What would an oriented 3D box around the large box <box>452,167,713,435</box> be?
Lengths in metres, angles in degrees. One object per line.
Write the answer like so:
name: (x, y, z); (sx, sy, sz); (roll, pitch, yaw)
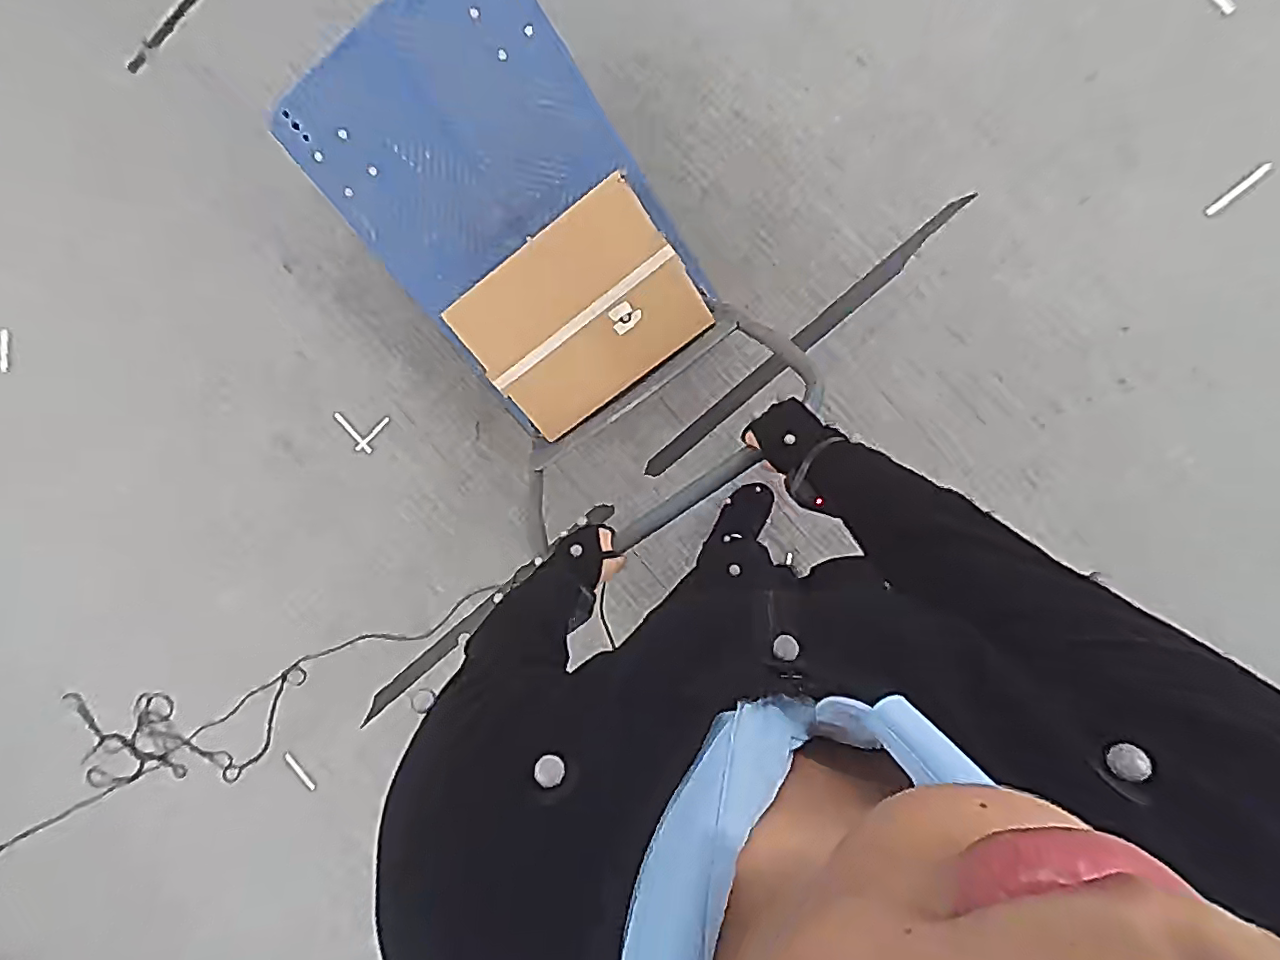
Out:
large box: (-0.119, -0.369, 1.150); (0.408, 0.320, 0.320); (-37, 112, 8)
